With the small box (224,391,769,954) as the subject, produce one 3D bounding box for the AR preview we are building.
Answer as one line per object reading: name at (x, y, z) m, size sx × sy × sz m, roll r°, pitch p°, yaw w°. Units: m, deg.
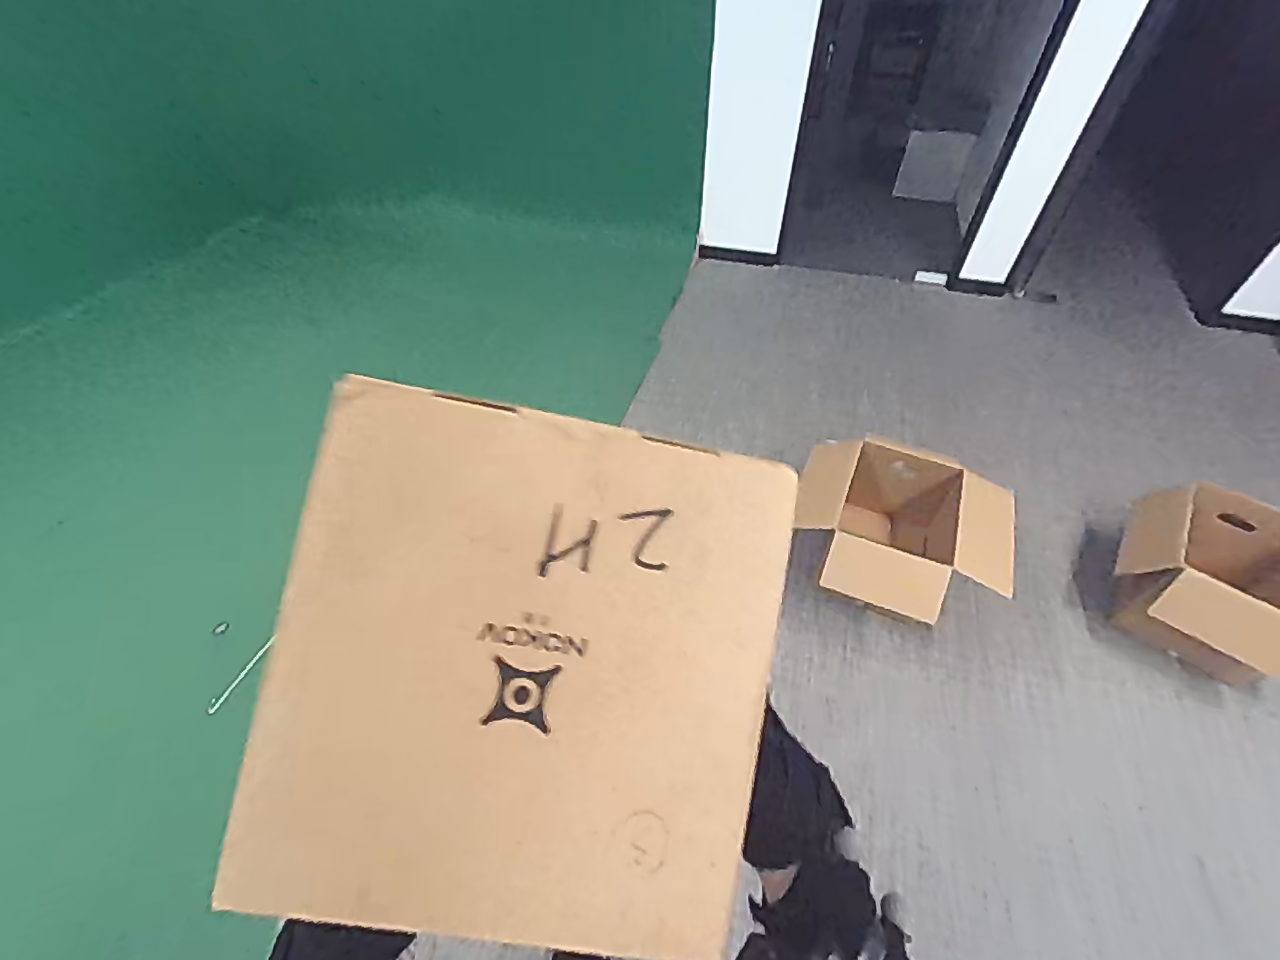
small box at (-0.051, 0.072, 0.271) m, size 0.168 × 0.176 × 0.179 m, roll 10°, pitch 85°, yaw -4°
